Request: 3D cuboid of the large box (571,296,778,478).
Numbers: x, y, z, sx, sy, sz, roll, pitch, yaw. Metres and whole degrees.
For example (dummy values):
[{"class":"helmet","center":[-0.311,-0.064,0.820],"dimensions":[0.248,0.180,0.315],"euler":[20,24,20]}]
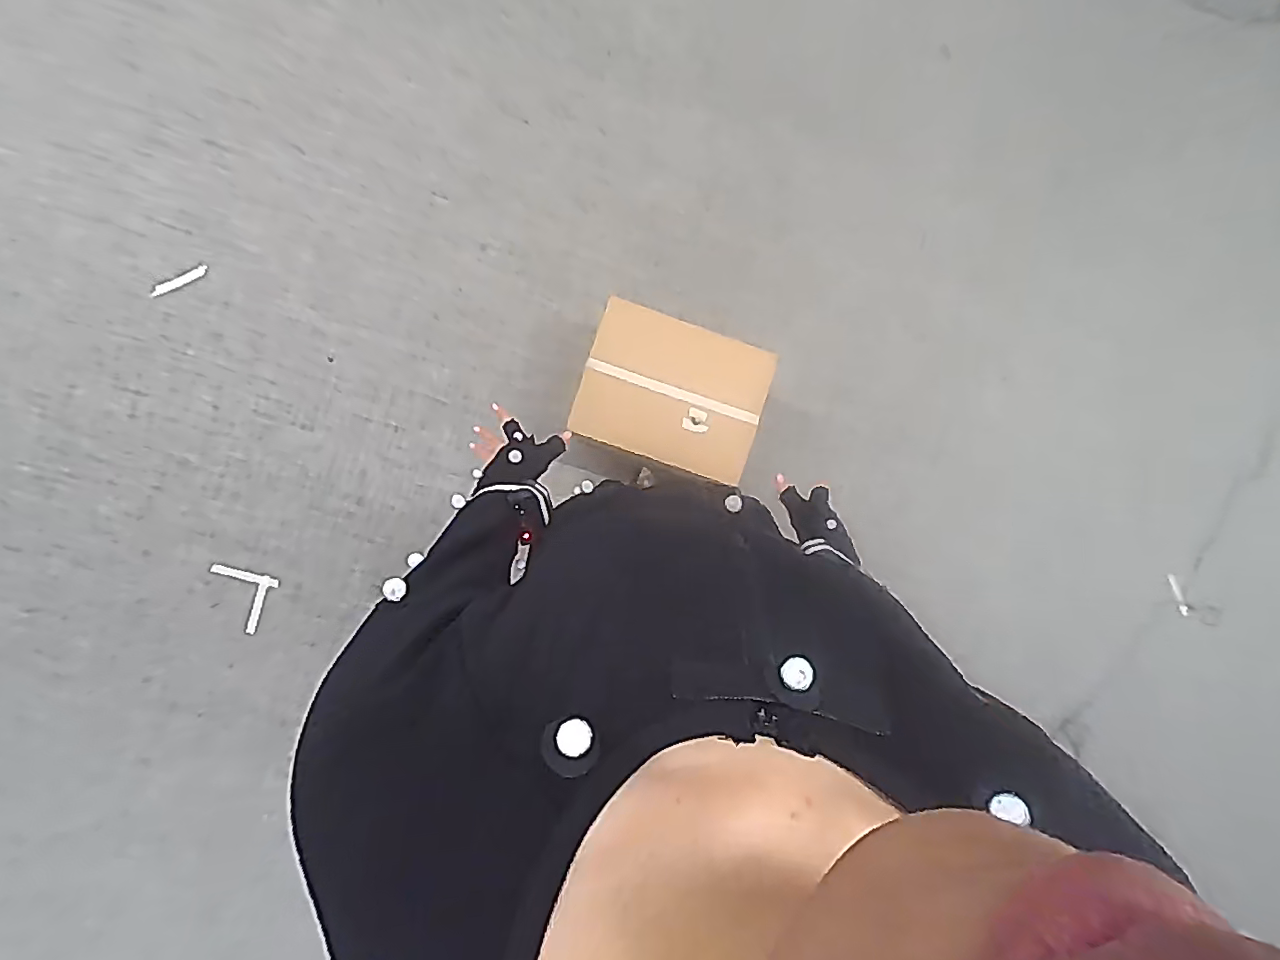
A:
[{"class":"large box","center":[0.067,-0.206,1.349],"dimensions":[0.408,0.320,0.320],"euler":[18,90,-4]}]
